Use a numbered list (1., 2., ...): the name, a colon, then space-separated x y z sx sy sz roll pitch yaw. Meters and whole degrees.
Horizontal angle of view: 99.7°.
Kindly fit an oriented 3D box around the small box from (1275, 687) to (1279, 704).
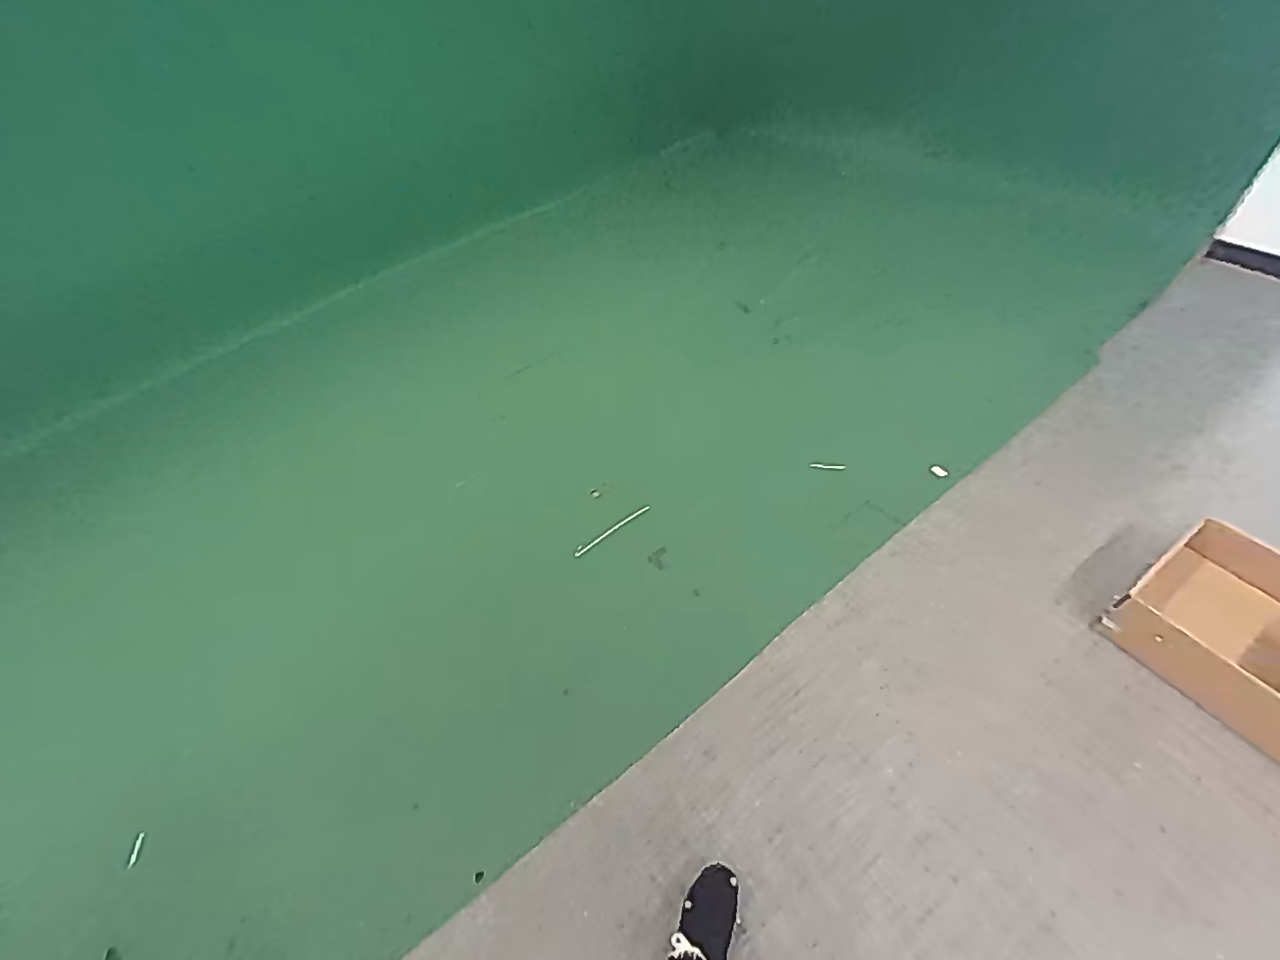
1. small box: 1.629 0.495 1.227 0.179 0.176 0.168 -31 53 -15
